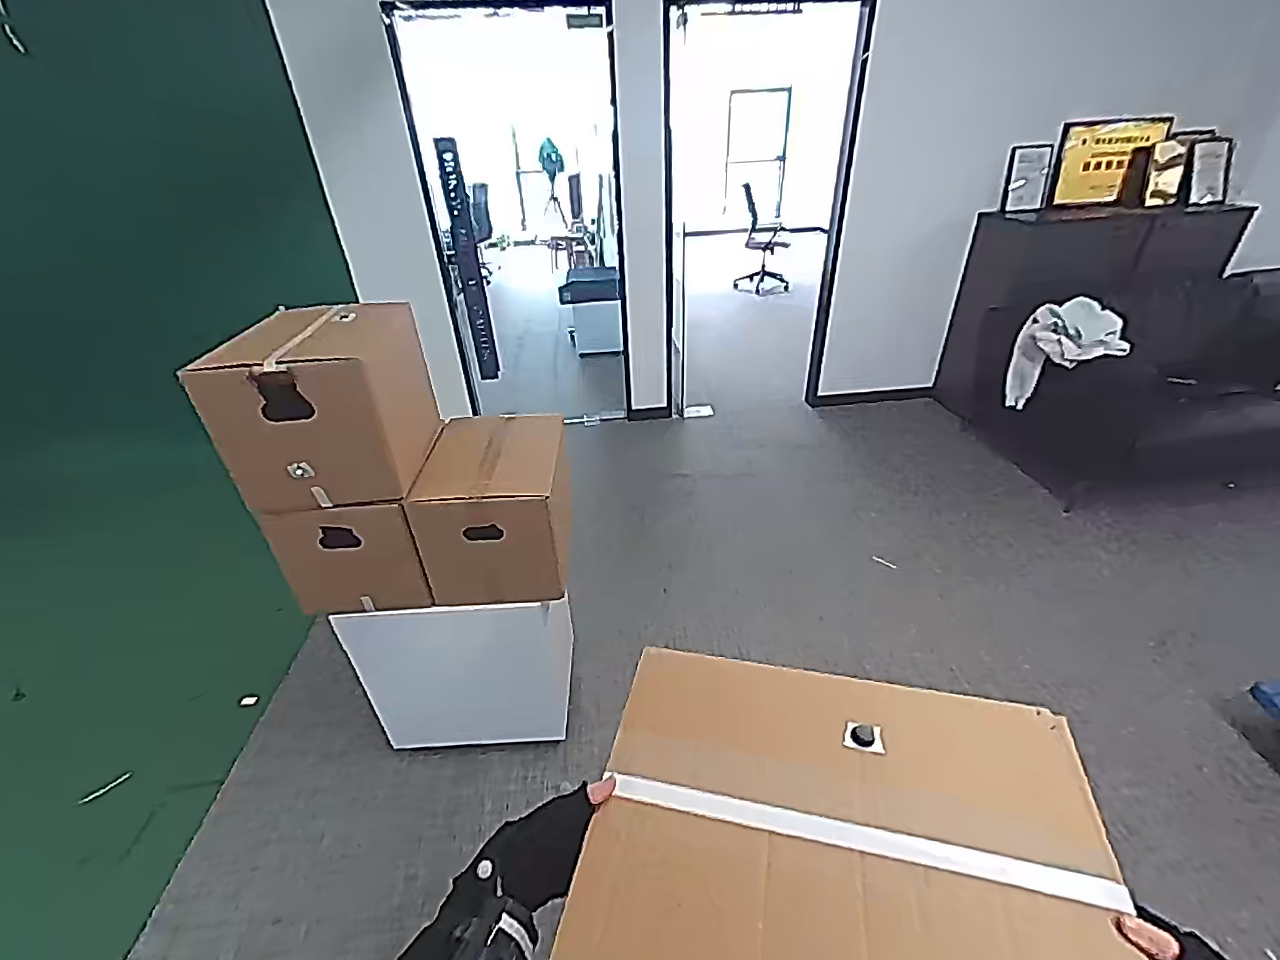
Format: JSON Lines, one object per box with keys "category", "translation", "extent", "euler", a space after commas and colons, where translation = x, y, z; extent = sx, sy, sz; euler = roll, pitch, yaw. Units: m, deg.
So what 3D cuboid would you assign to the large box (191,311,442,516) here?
{"category": "large box", "translation": [-0.668, -0.166, 1.212], "extent": [0.320, 0.320, 0.408], "euler": [-5, 31, -5]}
